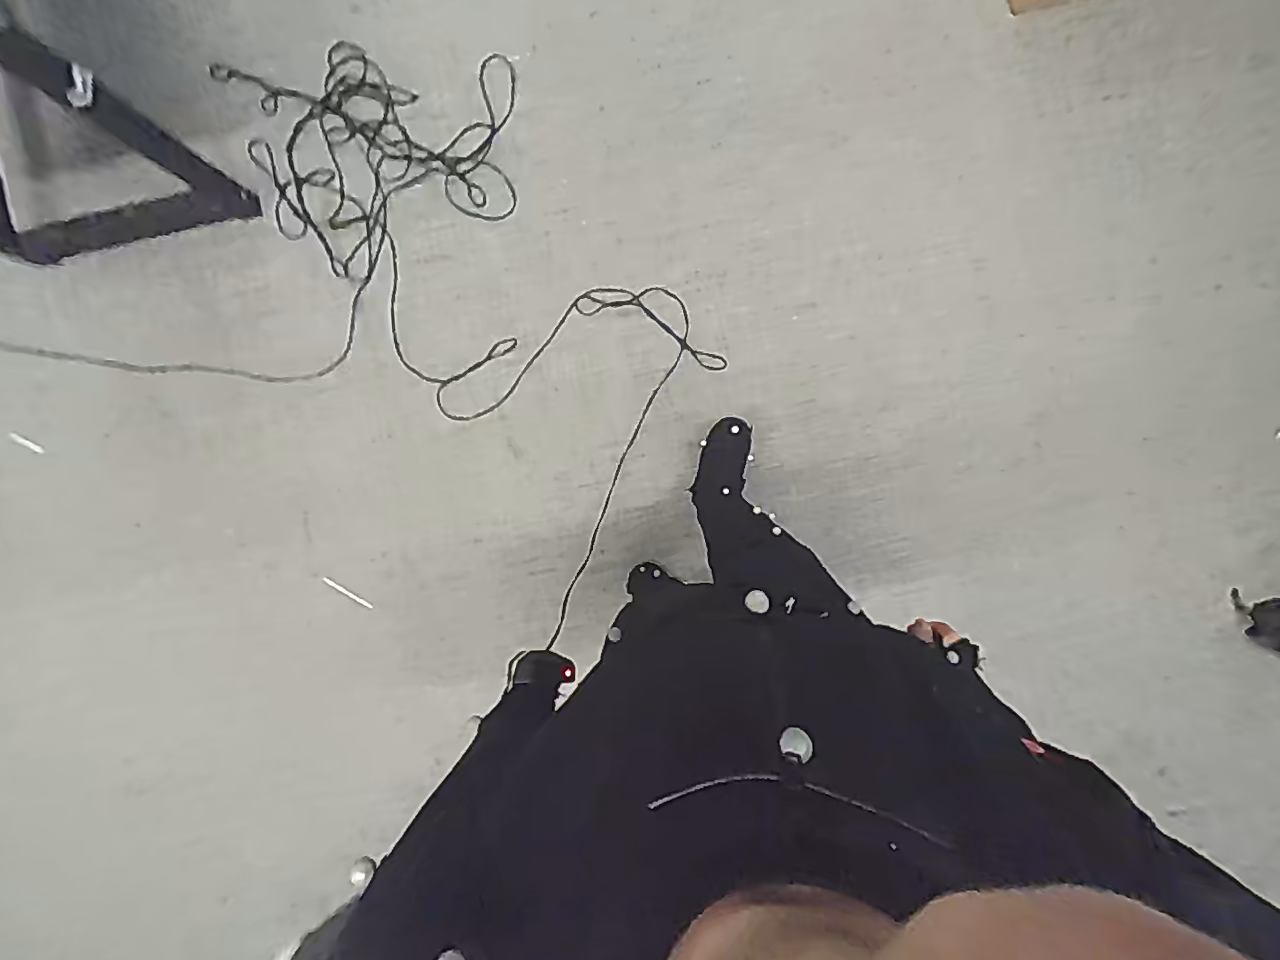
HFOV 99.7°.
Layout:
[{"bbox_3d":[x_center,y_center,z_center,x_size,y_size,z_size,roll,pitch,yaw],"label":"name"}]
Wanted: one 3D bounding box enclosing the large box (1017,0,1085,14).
[{"bbox_3d":[1.040,-1.371,1.184,0.320,0.320,0.408,-13,92,1],"label":"large box"}]
